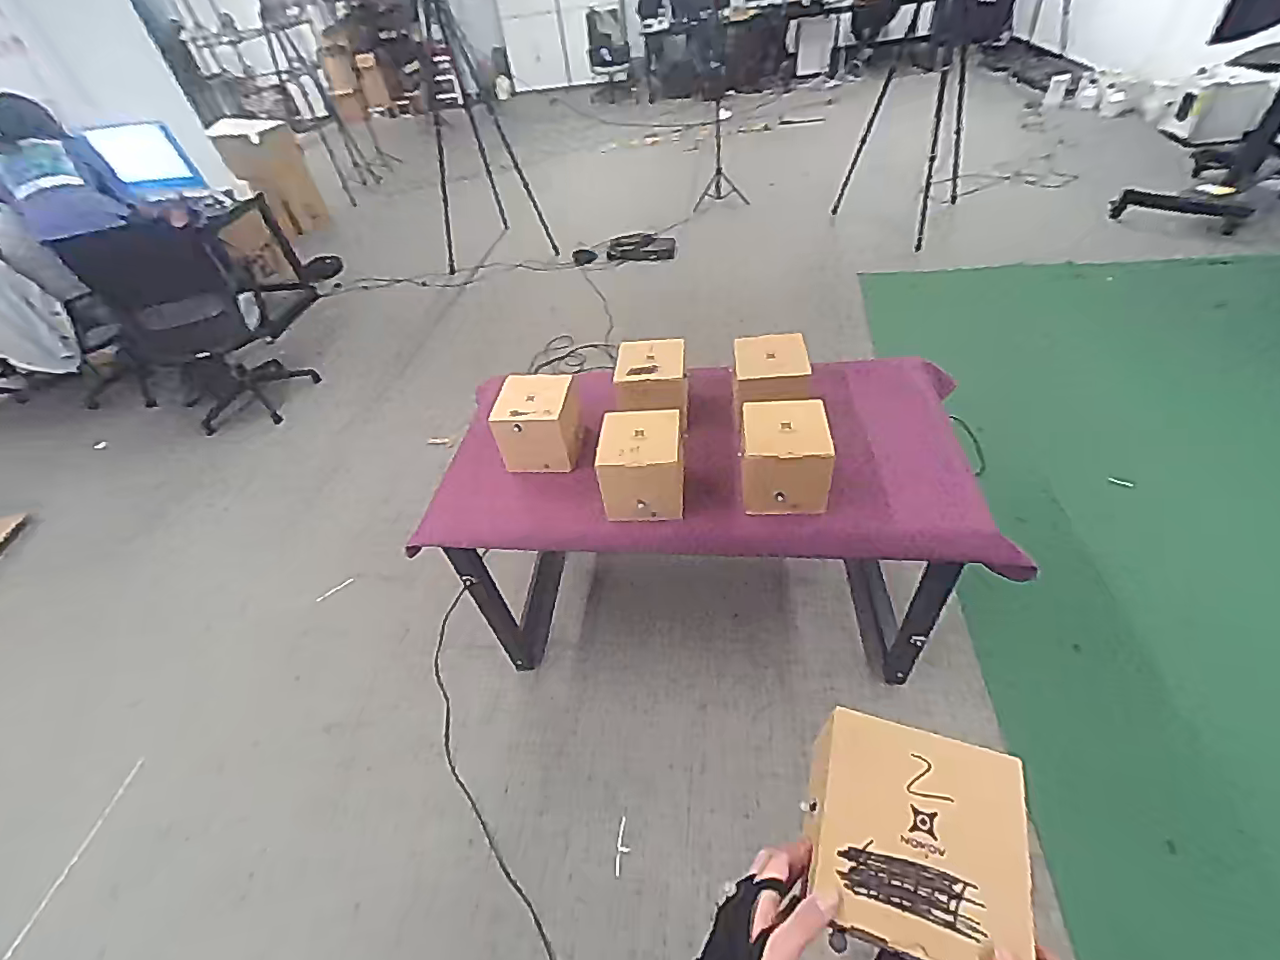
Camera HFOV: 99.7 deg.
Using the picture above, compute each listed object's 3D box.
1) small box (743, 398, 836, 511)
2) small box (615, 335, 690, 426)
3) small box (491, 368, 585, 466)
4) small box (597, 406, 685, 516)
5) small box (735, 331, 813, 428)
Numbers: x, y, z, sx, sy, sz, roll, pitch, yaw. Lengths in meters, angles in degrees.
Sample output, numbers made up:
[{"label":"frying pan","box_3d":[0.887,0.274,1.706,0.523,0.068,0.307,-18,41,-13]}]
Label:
[{"label":"small box","box_3d":[0.305,-0.054,1.143,0.168,0.176,0.179,0,46,8]},{"label":"small box","box_3d":[0.039,-0.246,1.369,0.168,0.176,0.179,0,45,8]},{"label":"small box","box_3d":[-0.237,-0.153,1.316,0.168,0.176,0.179,0,45,10]},{"label":"small box","box_3d":[0.010,-0.042,1.172,0.168,0.176,0.179,-1,45,8]},{"label":"small box","box_3d":[0.321,-0.243,1.326,0.168,0.176,0.179,-2,47,8]}]
